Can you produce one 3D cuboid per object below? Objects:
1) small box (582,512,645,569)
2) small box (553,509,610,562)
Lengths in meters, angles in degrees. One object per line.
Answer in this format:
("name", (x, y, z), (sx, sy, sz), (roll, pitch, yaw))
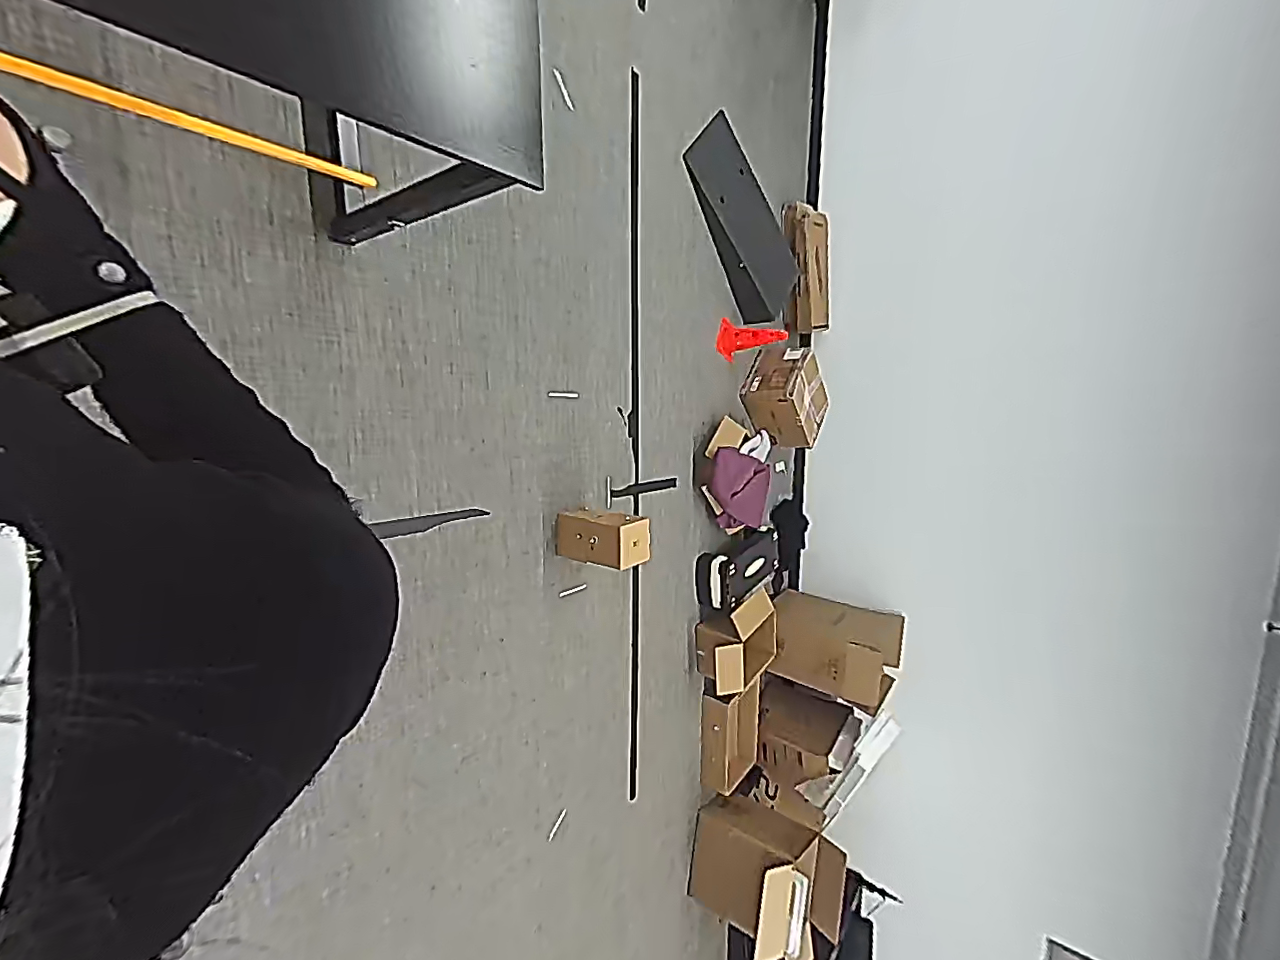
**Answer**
("small box", (-0.099, 0.223, 2.049), (0.179, 0.176, 0.168), (-12, 104, -50))
("small box", (-0.229, 0.212, 2.146), (0.168, 0.176, 0.179), (-5, 101, -52))
